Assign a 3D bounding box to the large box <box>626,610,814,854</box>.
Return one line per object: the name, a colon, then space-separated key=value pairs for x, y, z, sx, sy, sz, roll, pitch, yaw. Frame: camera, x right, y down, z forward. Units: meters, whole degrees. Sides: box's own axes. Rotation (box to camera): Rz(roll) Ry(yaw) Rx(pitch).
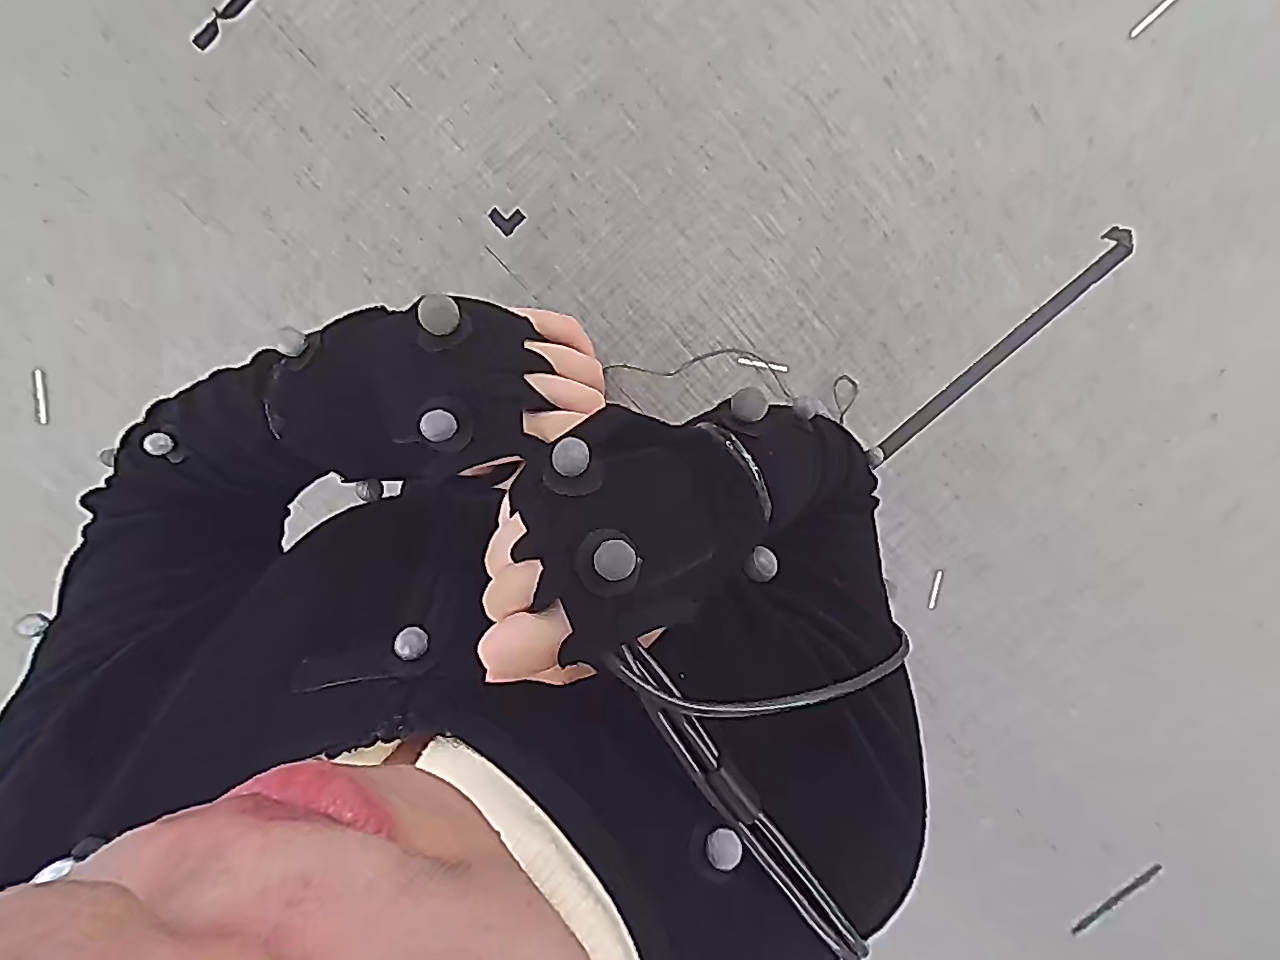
large box: x=0.163 y=0.578 z=1.292 sx=0.320 sy=0.320 sz=0.408 roll=14 pitch=101 yaw=-5
